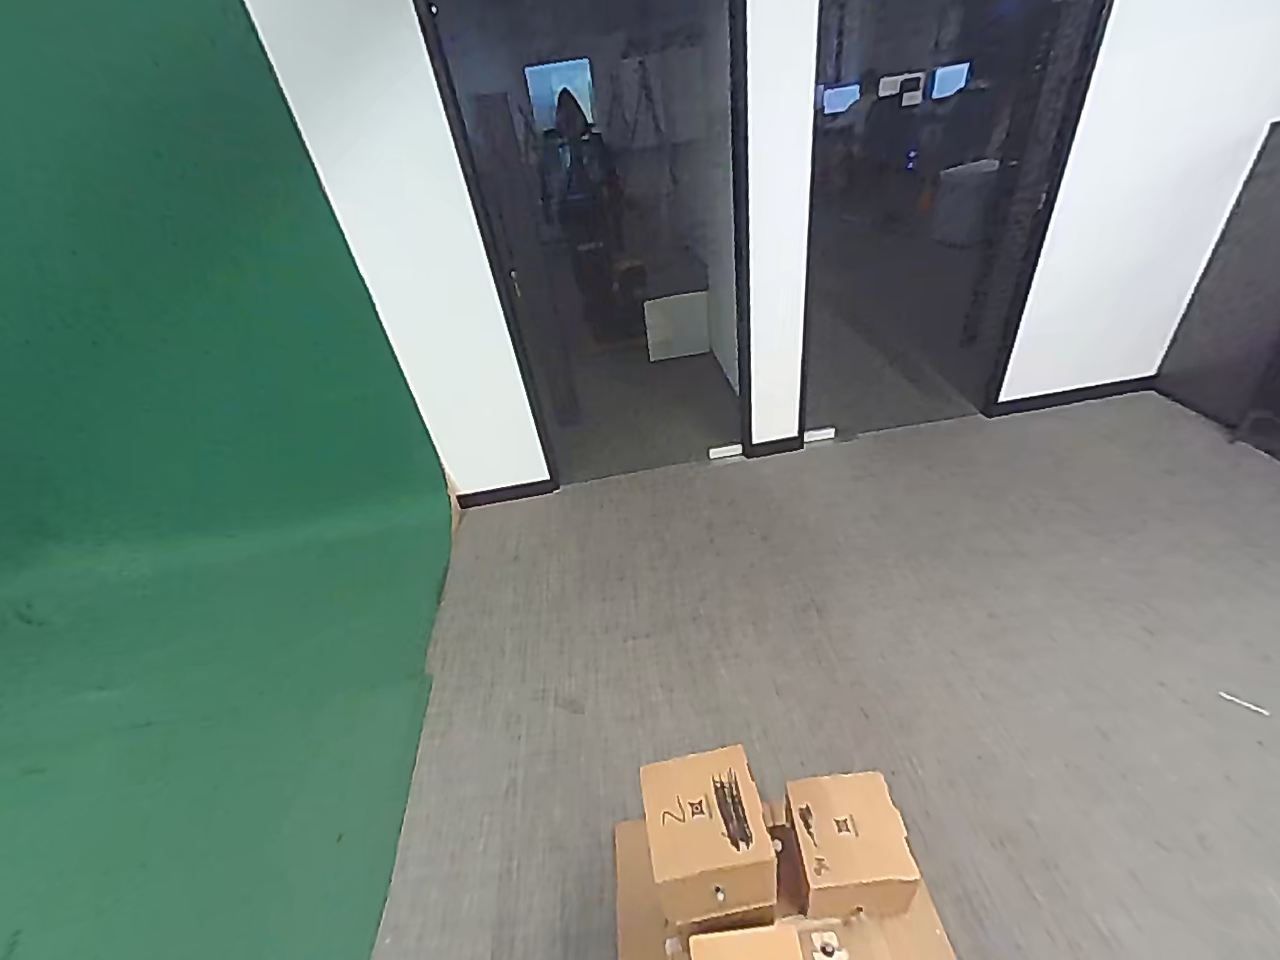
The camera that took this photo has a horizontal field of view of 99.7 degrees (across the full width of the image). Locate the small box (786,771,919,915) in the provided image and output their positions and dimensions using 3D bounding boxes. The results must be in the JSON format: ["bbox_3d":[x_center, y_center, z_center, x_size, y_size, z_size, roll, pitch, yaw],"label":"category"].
[{"bbox_3d":[0.363,0.644,0.959,0.179,0.176,0.168,-8,36,5],"label":"small box"}]

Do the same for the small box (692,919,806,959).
[{"bbox_3d":[0.172,0.793,0.803,0.168,0.176,0.179,-8,38,1],"label":"small box"}]
